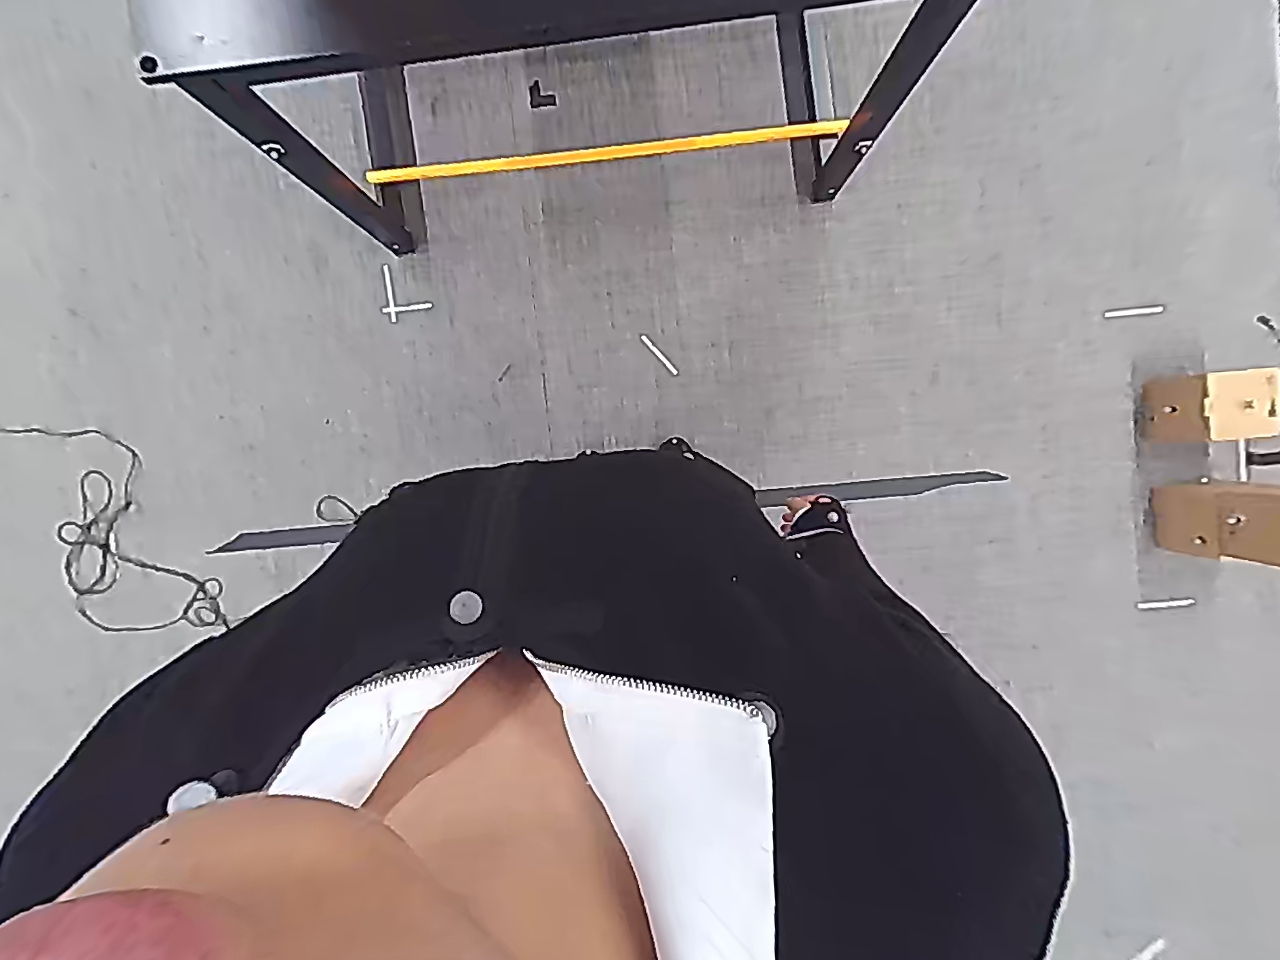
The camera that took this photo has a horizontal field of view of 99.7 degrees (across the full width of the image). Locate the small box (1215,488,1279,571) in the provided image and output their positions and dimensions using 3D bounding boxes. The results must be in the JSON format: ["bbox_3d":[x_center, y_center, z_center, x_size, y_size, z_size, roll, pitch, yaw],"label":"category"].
[{"bbox_3d":[1.479,0.108,1.229,0.179,0.176,0.168,-5,93,2],"label":"small box"}]

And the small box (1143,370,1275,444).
[{"bbox_3d":[1.433,-0.180,1.375,0.179,0.176,0.168,-4,93,2],"label":"small box"}]

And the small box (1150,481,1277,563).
[{"bbox_3d":[1.471,0.104,1.391,0.168,0.176,0.179,-7,93,1],"label":"small box"}]
